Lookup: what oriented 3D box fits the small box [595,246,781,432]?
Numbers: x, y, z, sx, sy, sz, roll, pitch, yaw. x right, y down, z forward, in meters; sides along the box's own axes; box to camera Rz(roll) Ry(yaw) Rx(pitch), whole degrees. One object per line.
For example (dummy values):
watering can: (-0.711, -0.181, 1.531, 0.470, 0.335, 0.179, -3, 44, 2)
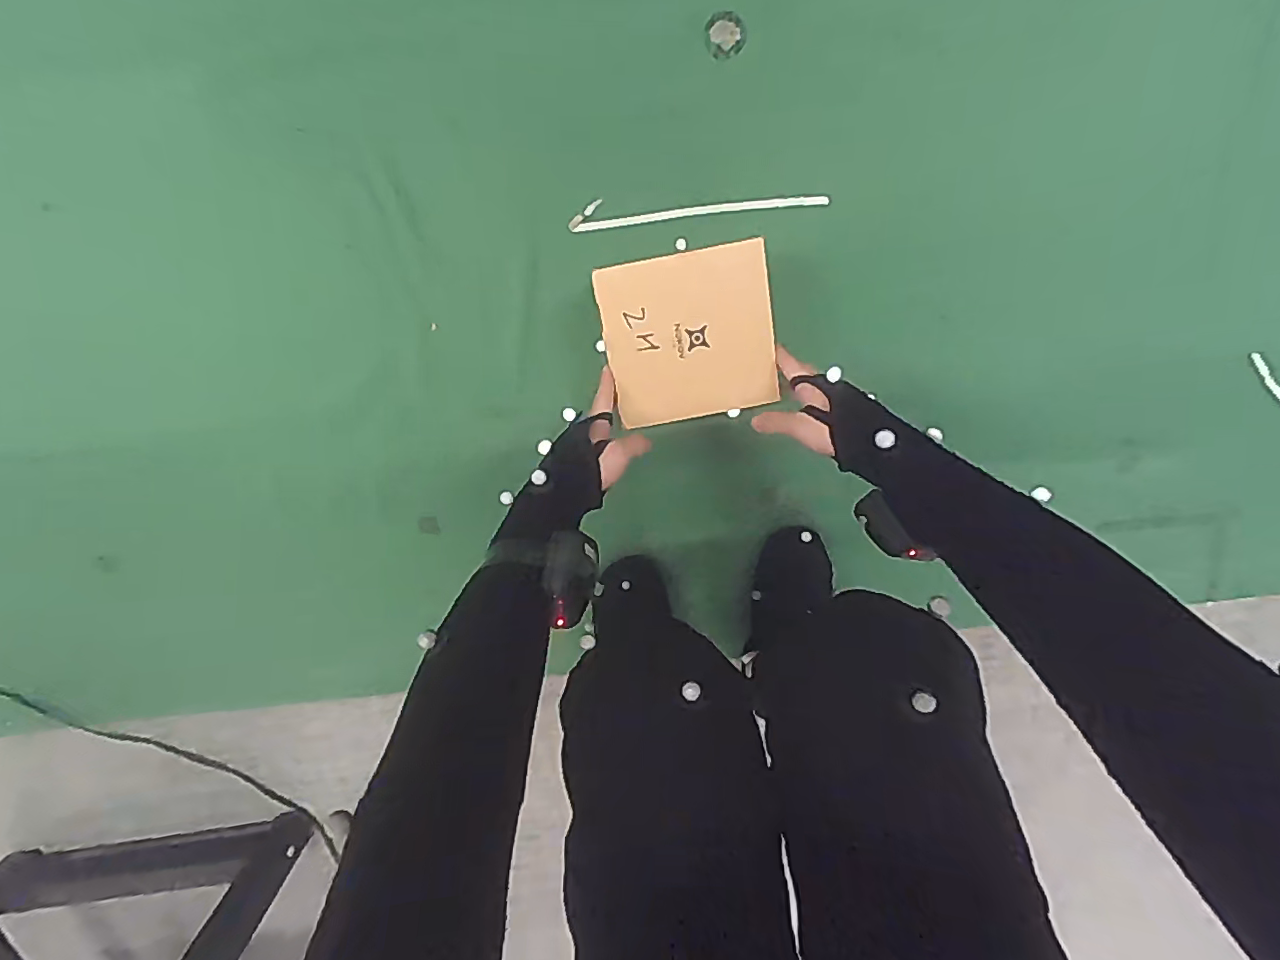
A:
small box: (0.051, -0.167, 0.634, 0.179, 0.176, 0.168, -10, 107, 3)
